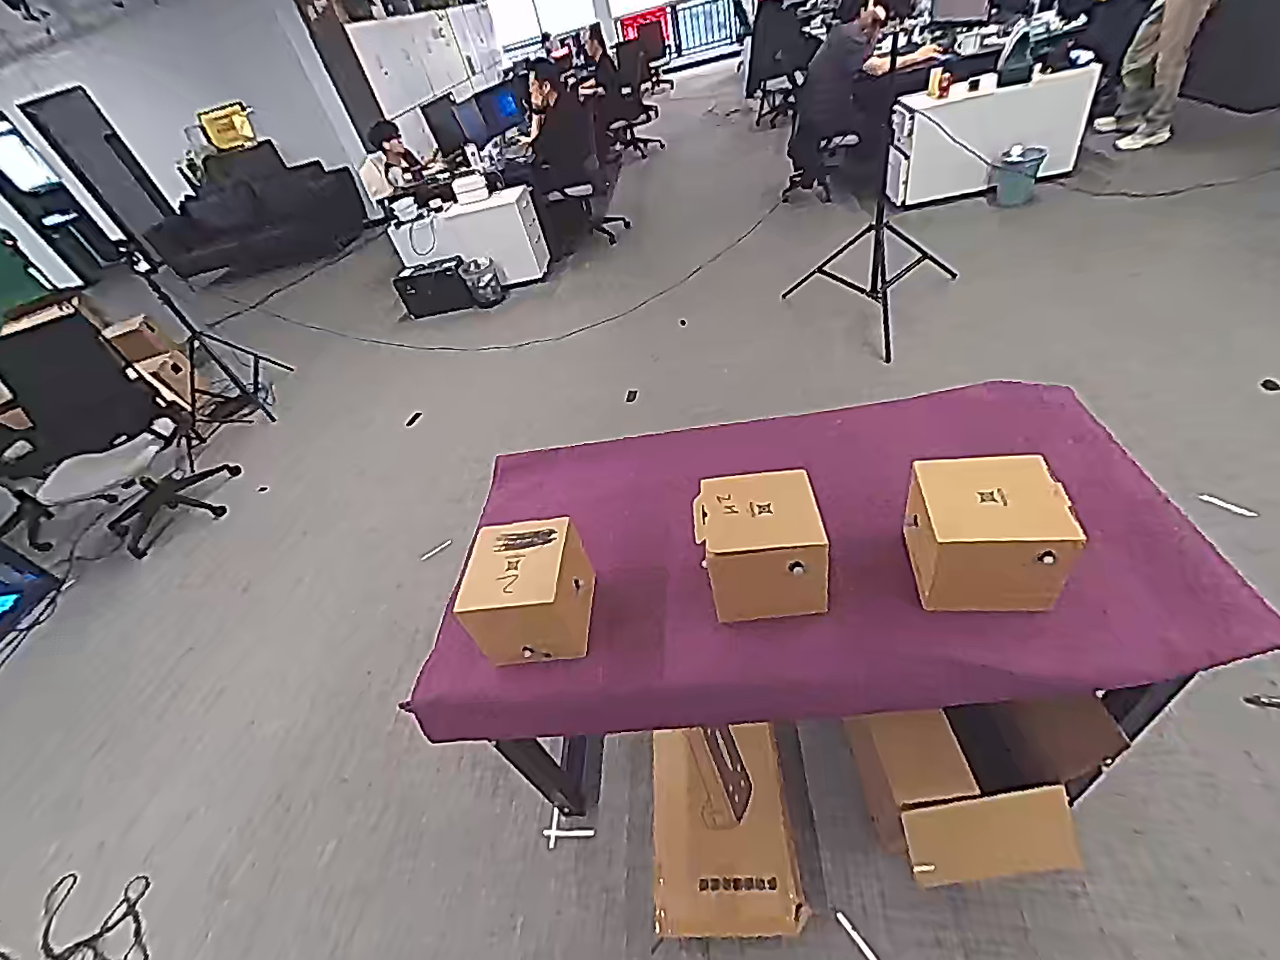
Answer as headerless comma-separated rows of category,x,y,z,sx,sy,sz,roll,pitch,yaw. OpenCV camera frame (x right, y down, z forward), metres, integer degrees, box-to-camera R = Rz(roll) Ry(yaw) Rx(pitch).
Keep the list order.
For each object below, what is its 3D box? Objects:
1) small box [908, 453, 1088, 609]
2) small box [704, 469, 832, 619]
small box,0.513,0.079,0.811,0.179,0.176,0.168,-3,43,14
small box,0.203,0.106,0.879,0.179,0.176,0.168,-8,40,9
